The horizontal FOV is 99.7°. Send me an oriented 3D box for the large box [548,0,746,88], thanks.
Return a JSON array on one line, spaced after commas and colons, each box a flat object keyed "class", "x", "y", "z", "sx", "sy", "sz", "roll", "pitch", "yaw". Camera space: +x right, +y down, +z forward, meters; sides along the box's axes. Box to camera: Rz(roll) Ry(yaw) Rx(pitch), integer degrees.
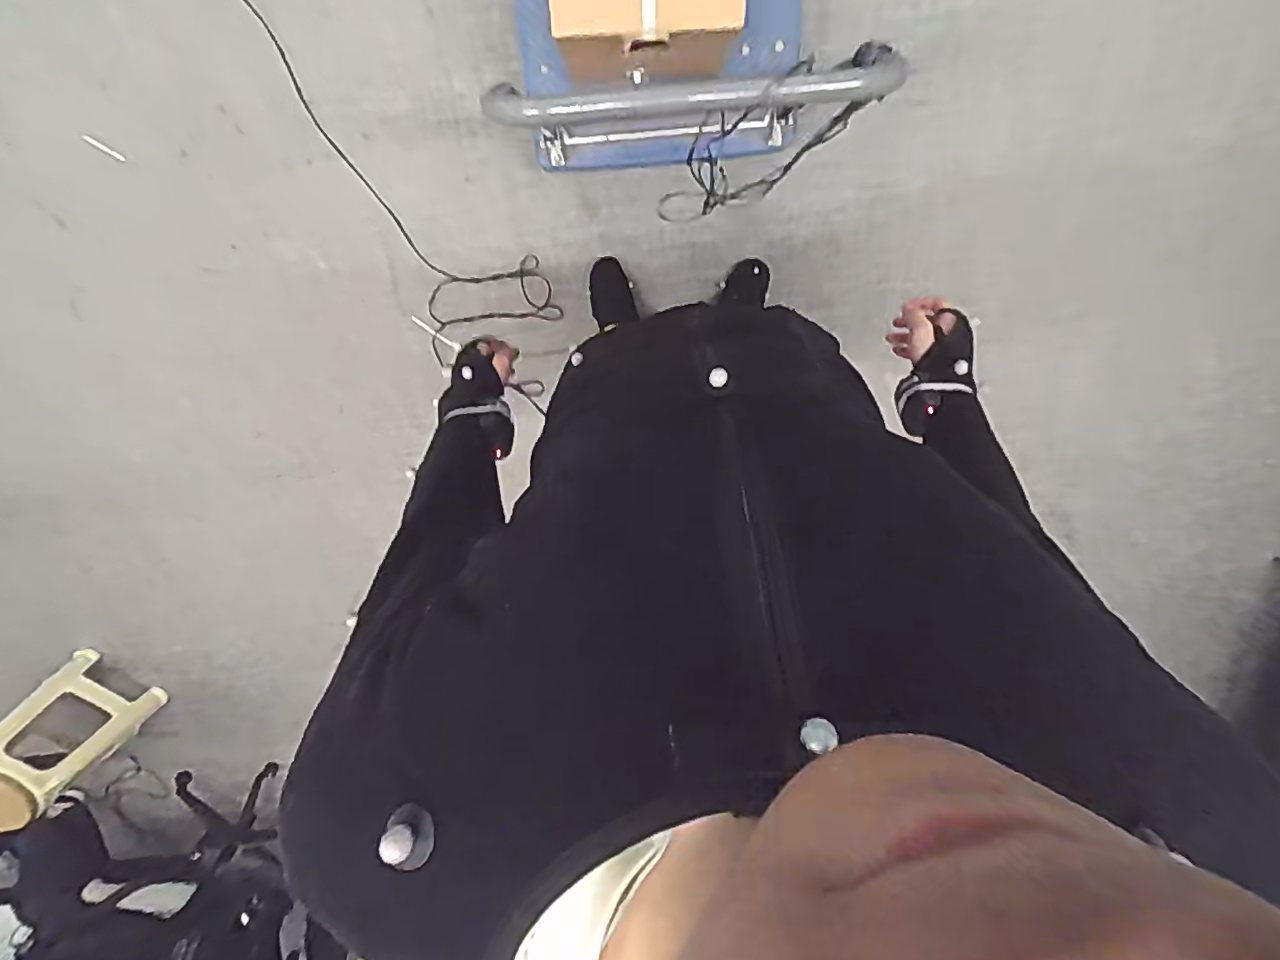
[{"class": "large box", "x": 0.006, "y": -0.952, "z": 0.917, "sx": 0.320, "sy": 0.320, "sz": 0.408, "roll": -2, "pitch": 114, "yaw": 1}]
